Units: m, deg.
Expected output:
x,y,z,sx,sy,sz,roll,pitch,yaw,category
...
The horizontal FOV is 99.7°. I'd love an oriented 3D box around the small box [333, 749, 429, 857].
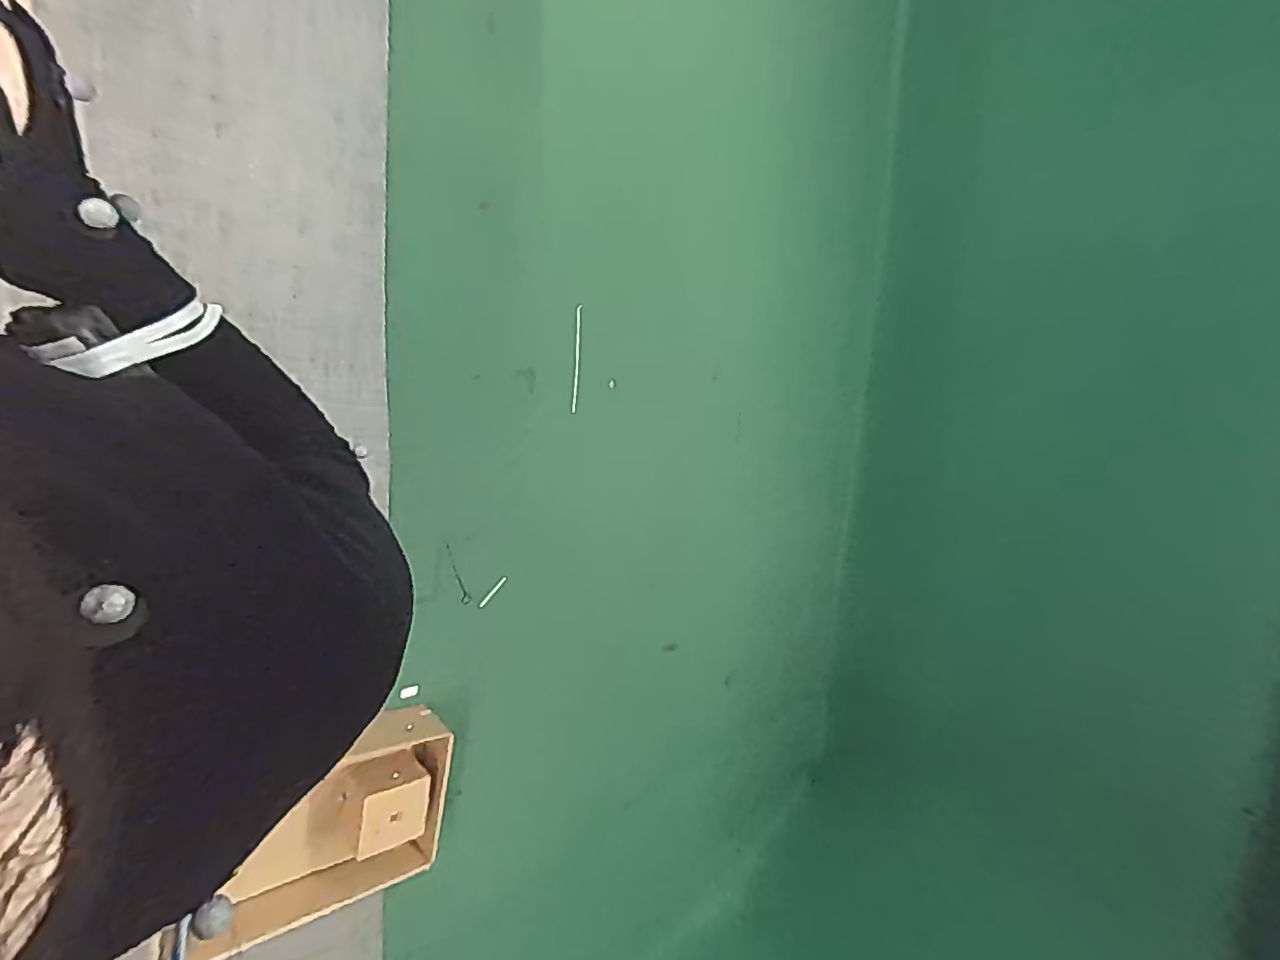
x,y,z,sx,sy,sz,roll,pitch,yaw,category
-0.708,0.868,1.477,0.179,0.176,0.168,7,92,-47,small box
